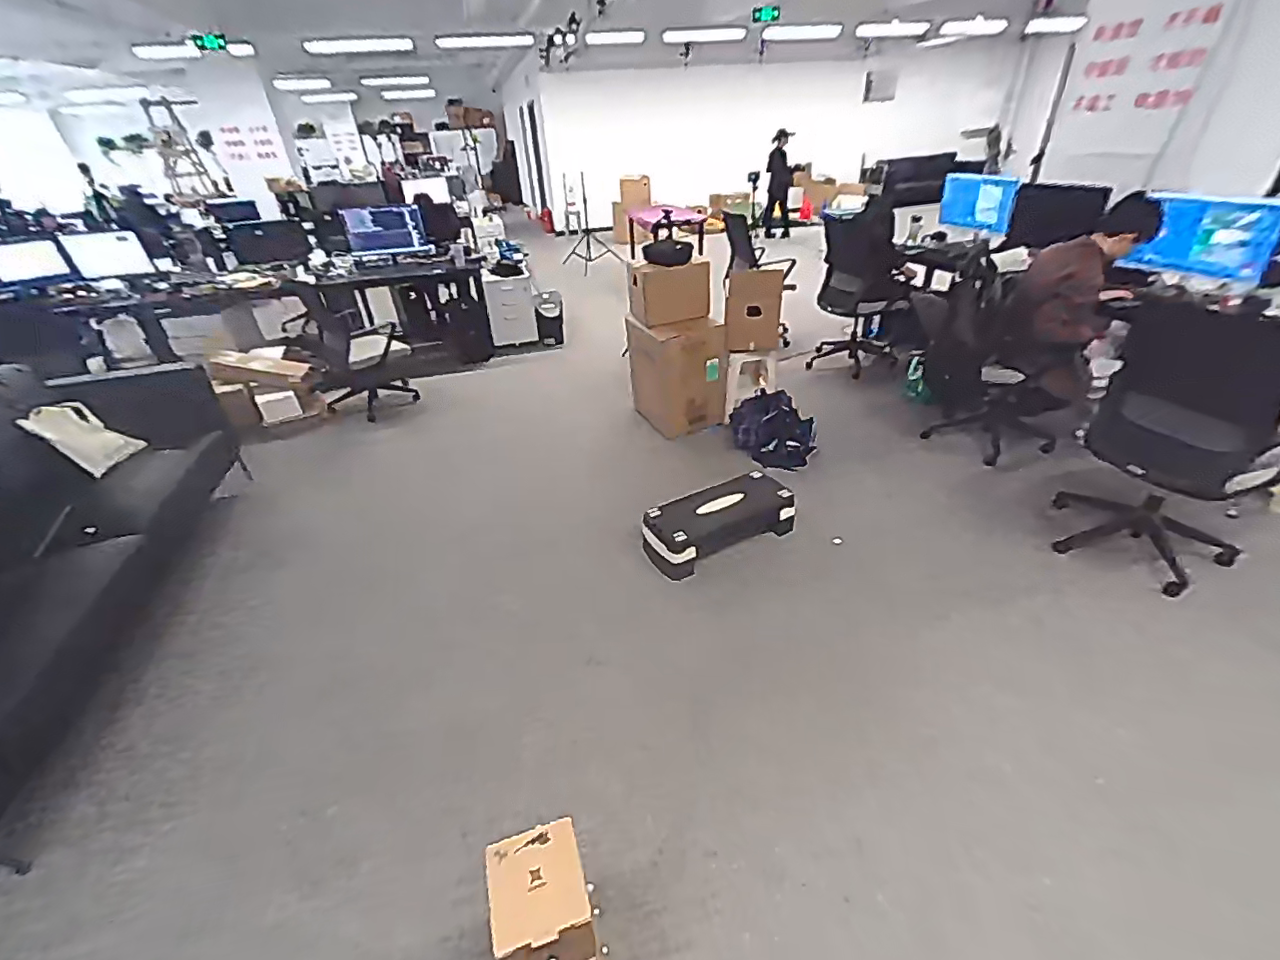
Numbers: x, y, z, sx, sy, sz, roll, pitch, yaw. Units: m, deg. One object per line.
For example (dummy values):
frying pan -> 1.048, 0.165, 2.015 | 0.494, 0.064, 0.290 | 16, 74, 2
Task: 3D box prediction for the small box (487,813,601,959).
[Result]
small box -> -0.176, 0.768, 0.998 | 0.168, 0.176, 0.179 | -13, 36, -14
